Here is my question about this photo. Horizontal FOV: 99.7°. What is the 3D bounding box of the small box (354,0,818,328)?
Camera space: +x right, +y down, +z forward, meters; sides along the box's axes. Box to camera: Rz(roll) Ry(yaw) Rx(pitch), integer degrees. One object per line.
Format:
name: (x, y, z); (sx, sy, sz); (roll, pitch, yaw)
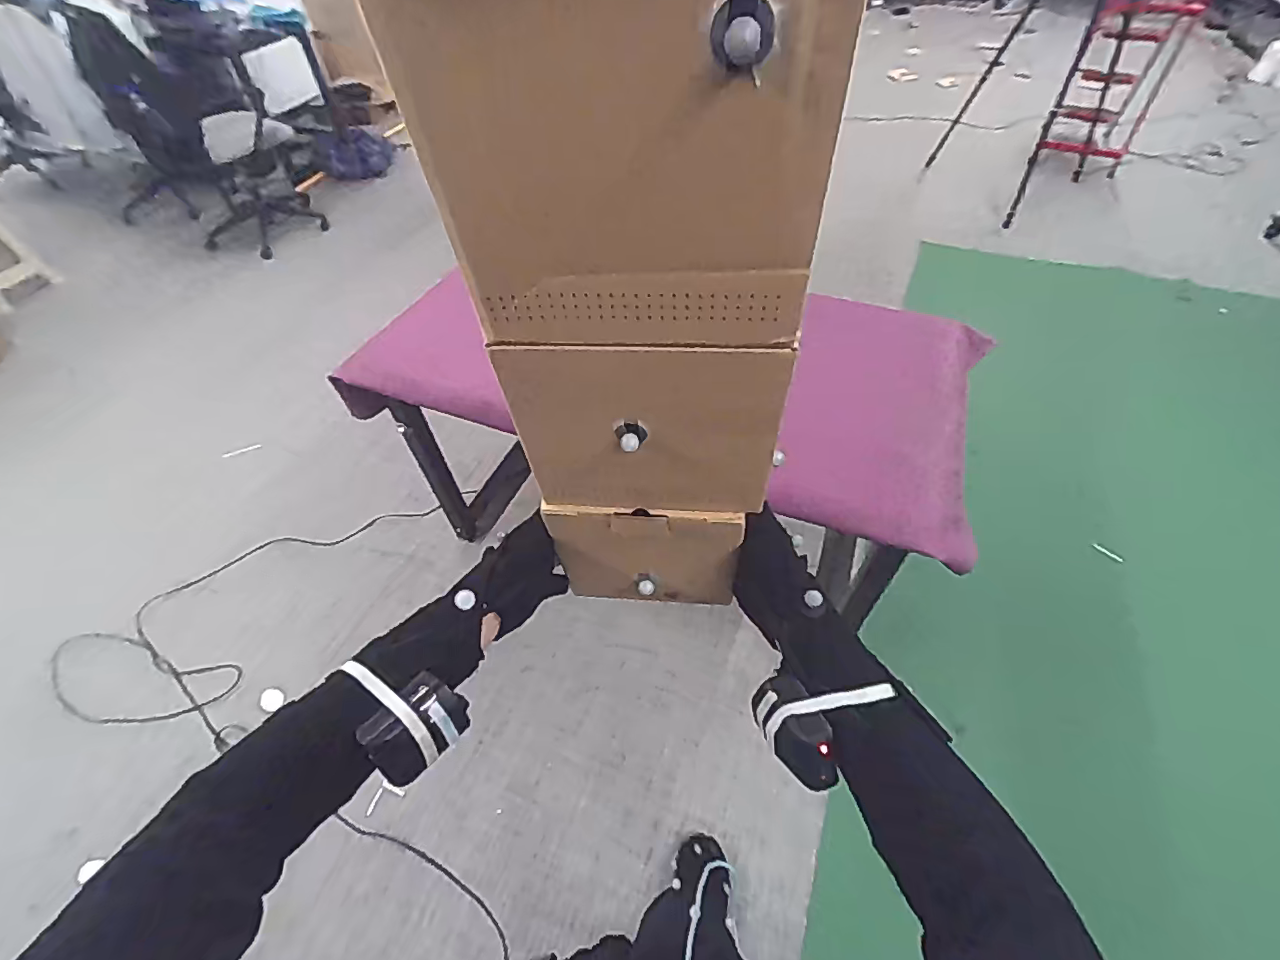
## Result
small box: (-0.012, -0.194, 0.280); (0.179, 0.176, 0.168); (2, 55, 6)

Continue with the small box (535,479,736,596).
small box: (0.008, -0.002, 0.544); (0.168, 0.176, 0.179); (2, 55, 7)

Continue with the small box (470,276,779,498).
small box: (0.003, -0.101, 0.409); (0.179, 0.176, 0.168); (4, 53, 8)
